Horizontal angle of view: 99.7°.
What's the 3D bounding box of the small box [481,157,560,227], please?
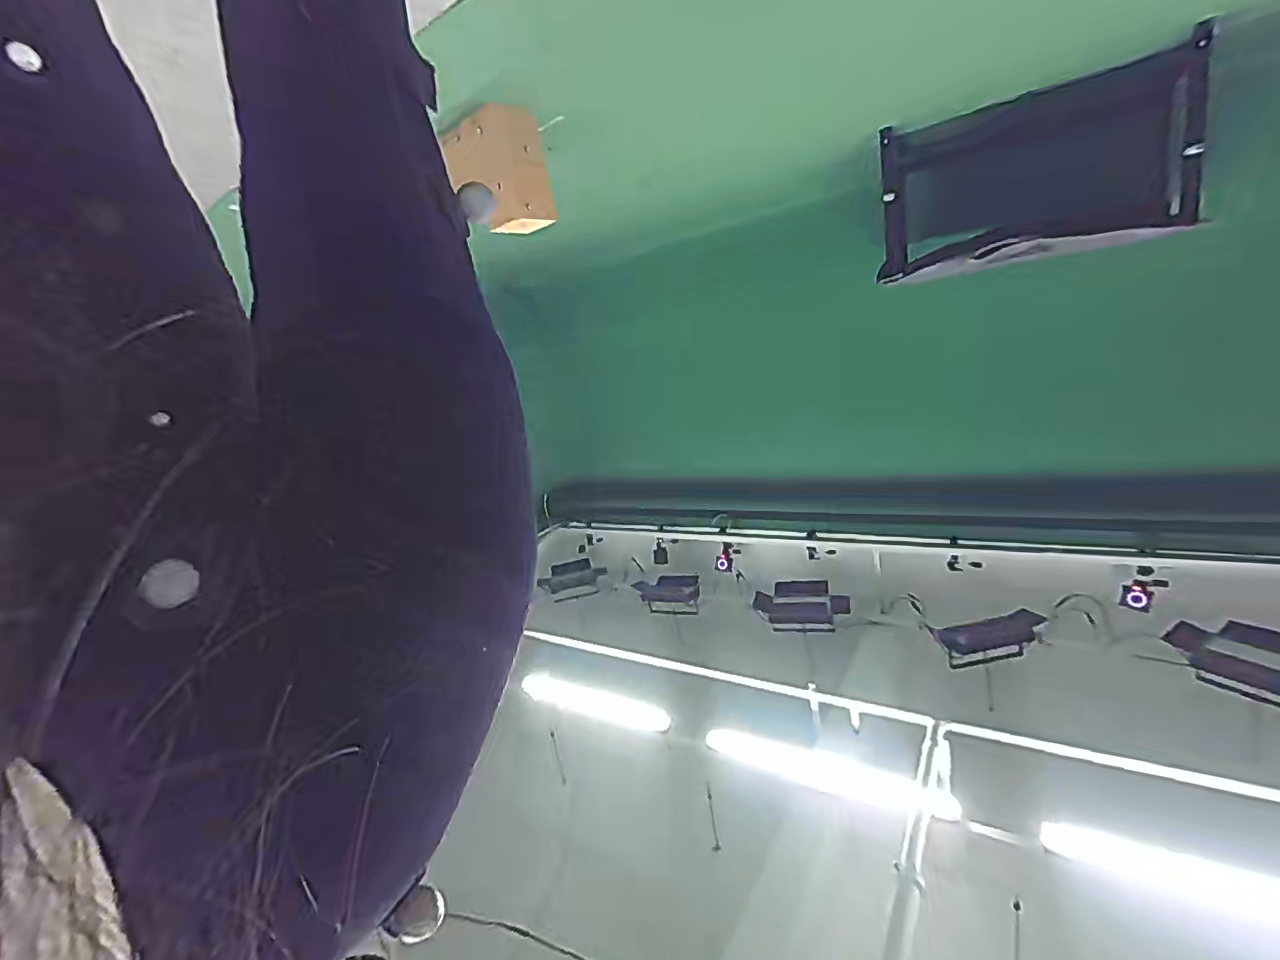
[{"bbox_3d":[-0.397,-0.954,1.796,0.168,0.176,0.179,1,-161,38],"label":"small box"}]
